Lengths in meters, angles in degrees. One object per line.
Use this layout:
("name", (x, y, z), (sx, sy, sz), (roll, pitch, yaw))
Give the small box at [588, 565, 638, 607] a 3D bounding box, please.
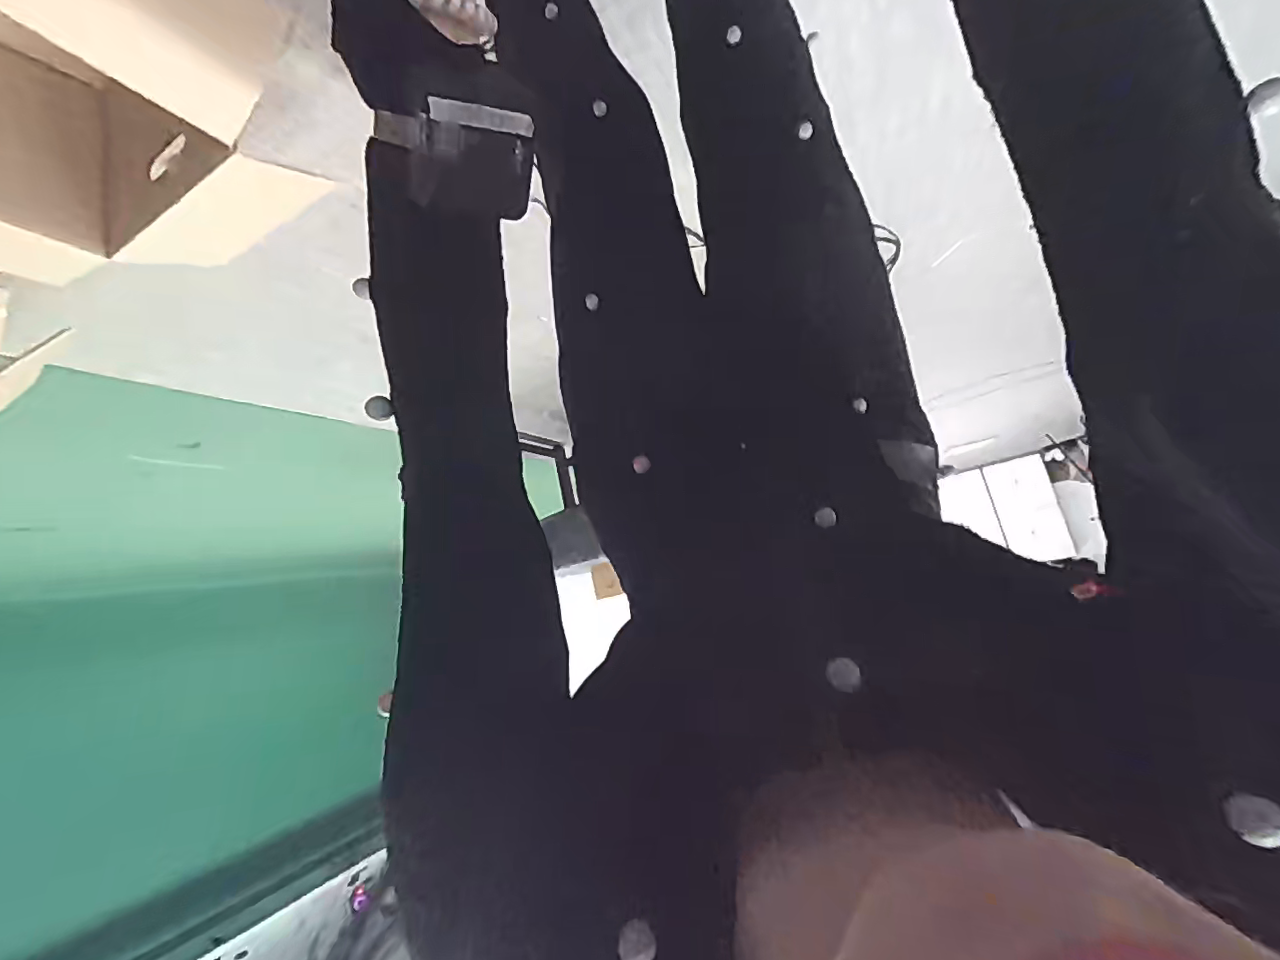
("small box", (-0.135, 0.511, 2.619), (0.179, 0.176, 0.168), (-19, 165, 24))
